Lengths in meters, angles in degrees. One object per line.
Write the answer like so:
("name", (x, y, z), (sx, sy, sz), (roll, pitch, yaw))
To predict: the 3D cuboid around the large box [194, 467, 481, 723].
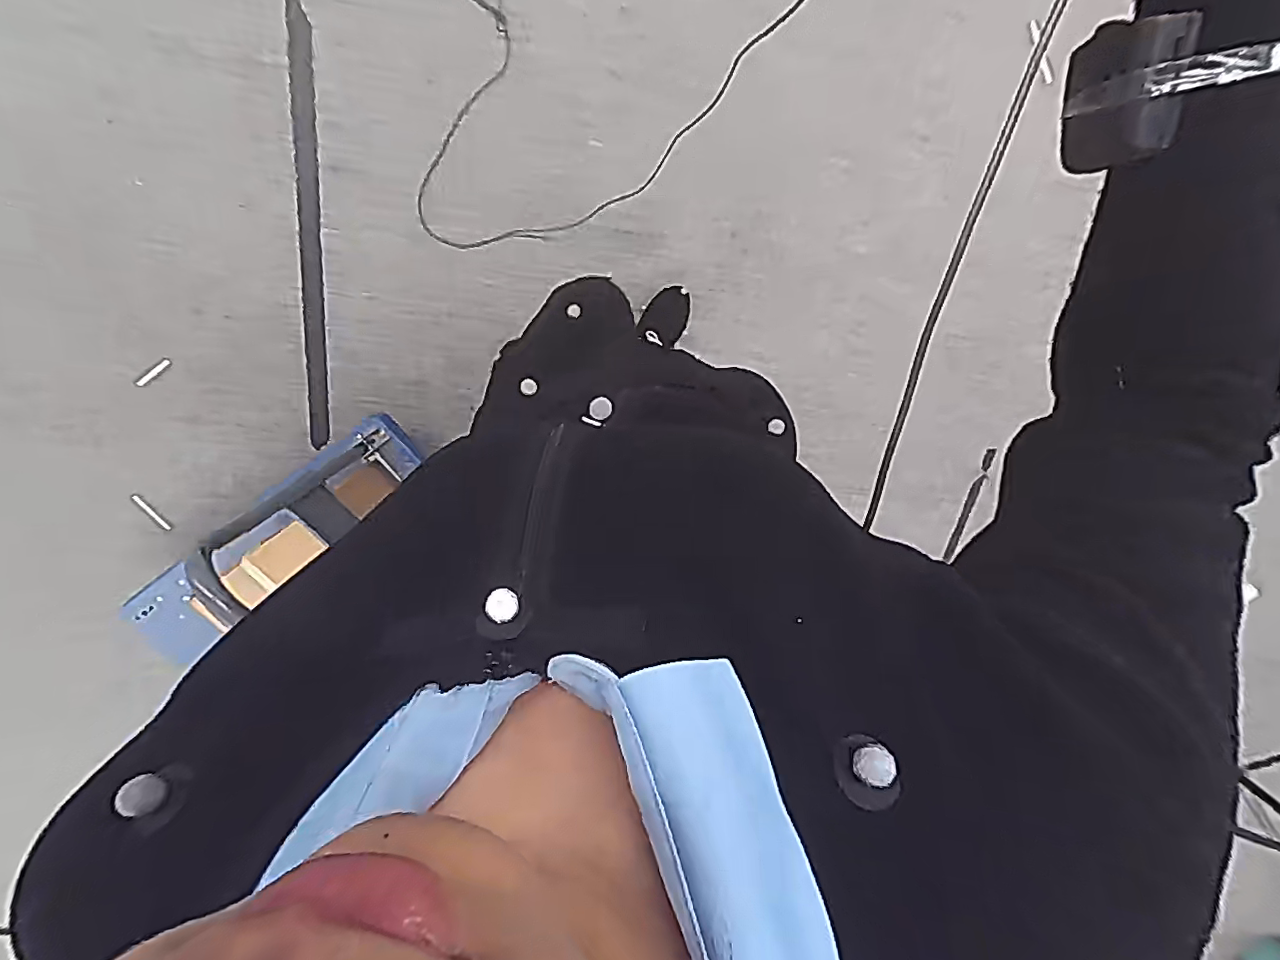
("large box", (-0.635, 0.245, 1.222), (0.320, 0.320, 0.408), (-35, 107, 7))
